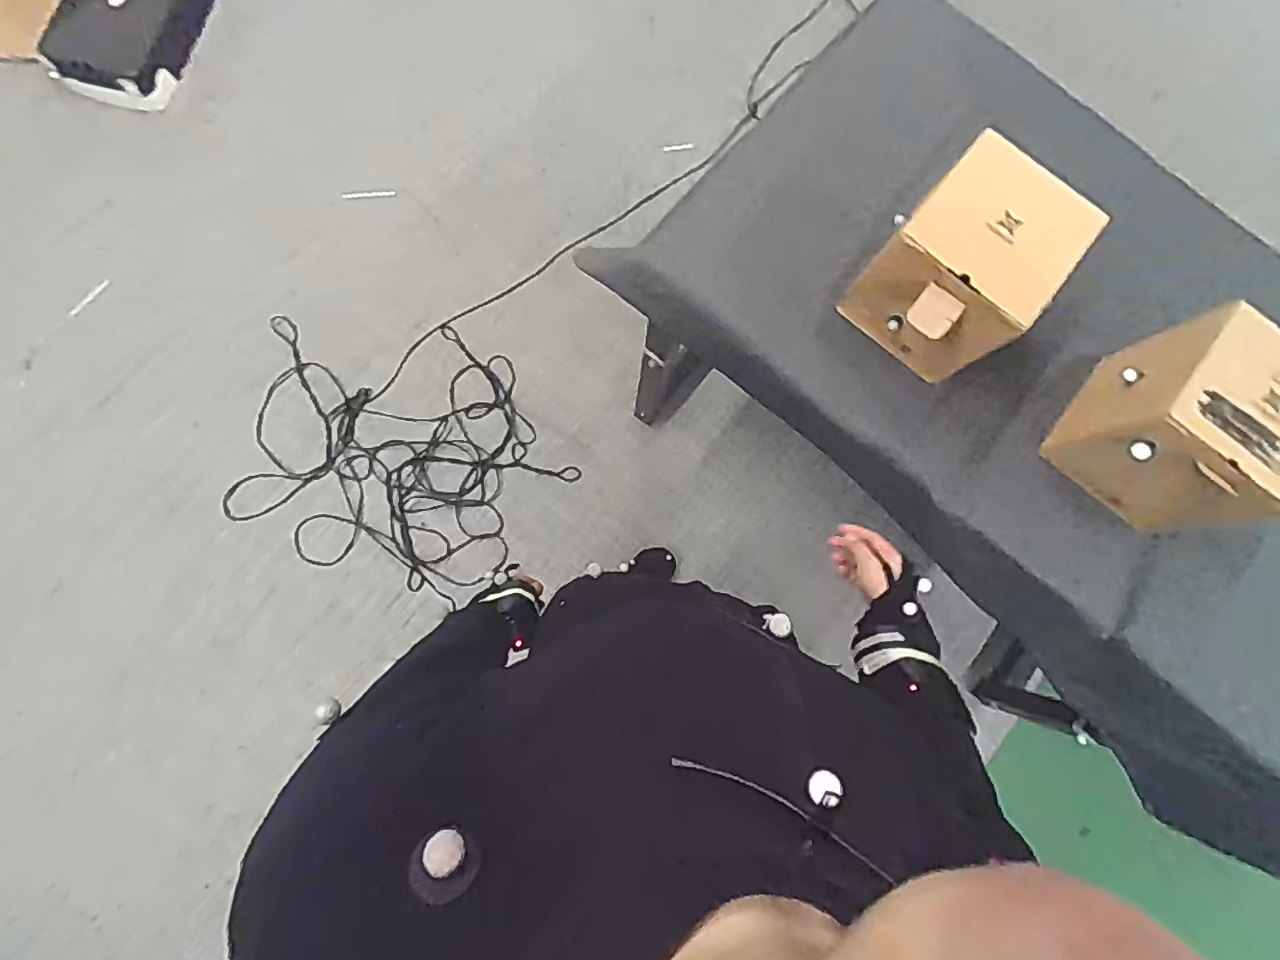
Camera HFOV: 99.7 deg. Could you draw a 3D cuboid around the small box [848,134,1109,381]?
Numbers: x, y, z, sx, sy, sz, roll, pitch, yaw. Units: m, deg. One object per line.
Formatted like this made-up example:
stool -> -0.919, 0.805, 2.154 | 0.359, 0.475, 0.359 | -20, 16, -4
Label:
small box -> 0.388, -0.253, 0.654 | 0.168, 0.176, 0.179 | 40, 81, 3
